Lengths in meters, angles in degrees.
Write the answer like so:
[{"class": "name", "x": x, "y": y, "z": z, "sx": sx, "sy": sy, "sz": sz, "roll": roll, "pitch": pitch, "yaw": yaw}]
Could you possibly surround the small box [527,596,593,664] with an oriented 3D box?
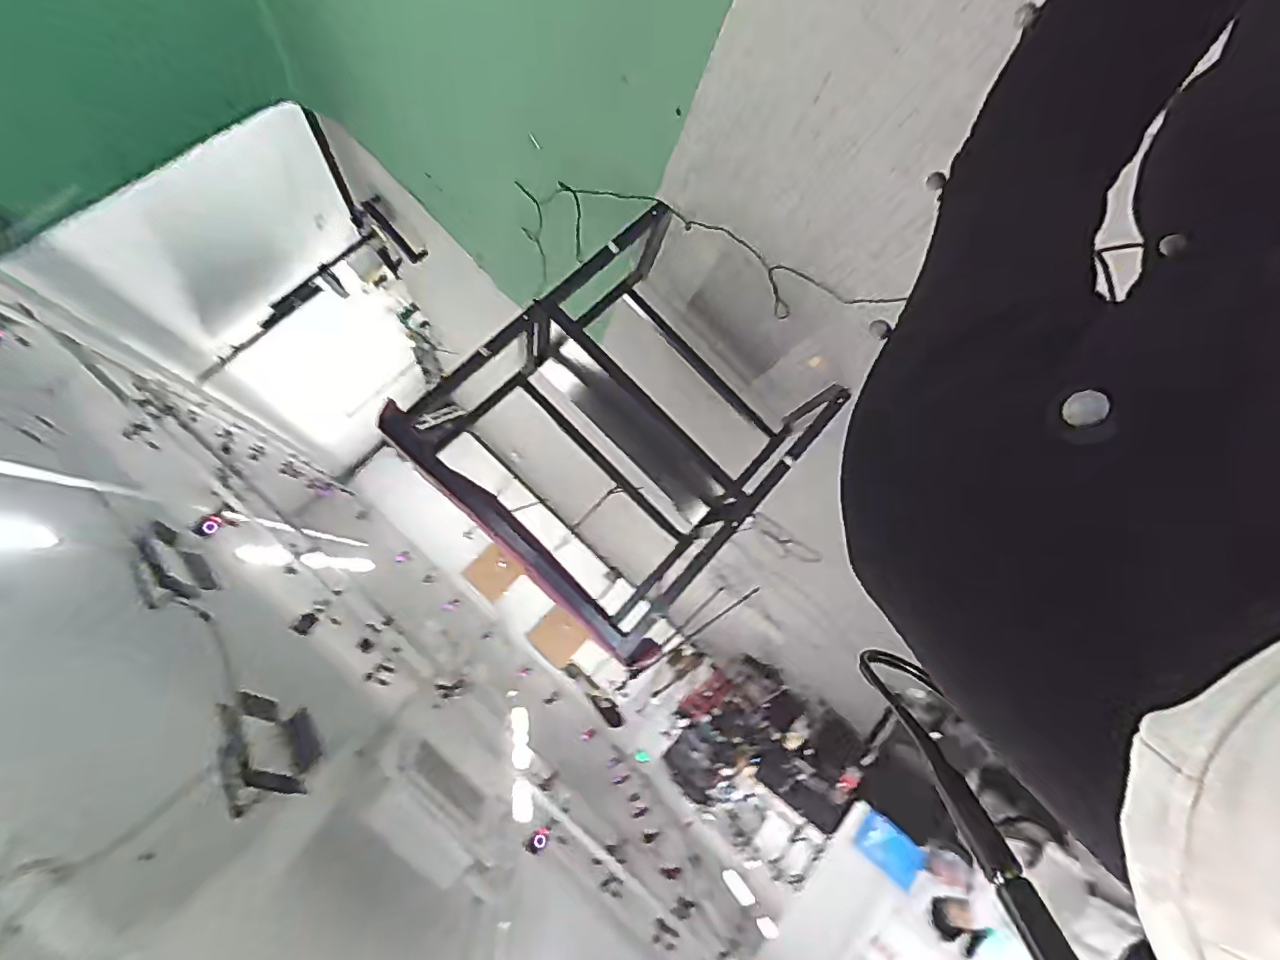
[{"class": "small box", "x": -0.297, "y": 0.549, "z": 2.007, "sx": 0.179, "sy": 0.176, "sz": 0.168, "roll": 45, "pitch": 166, "yaw": 1}]
